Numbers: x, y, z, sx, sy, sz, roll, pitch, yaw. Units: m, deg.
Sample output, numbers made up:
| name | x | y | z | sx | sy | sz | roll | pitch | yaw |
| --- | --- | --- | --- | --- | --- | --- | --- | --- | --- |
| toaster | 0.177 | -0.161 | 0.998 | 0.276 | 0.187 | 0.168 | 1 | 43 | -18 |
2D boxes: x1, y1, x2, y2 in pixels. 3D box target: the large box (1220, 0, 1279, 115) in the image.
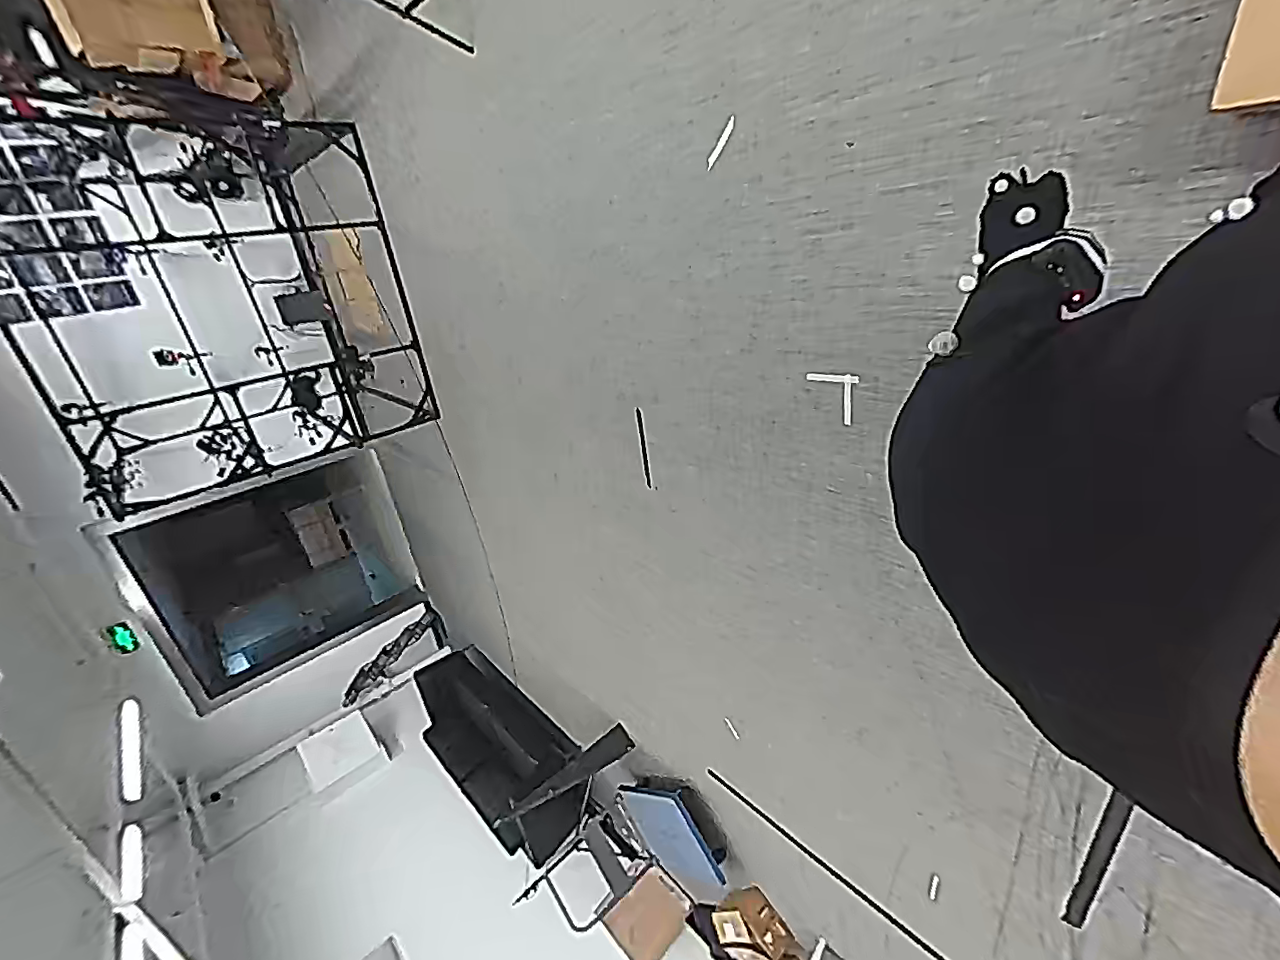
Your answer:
| name | x | y | z | sx | sy | sz | roll | pitch | yaw |
| --- | --- | --- | --- | --- | --- | --- | --- | --- | --- |
| large box | 1.018 | -0.658 | 0.633 | 0.408 | 0.320 | 0.320 | 19 | 126 | 43 |
